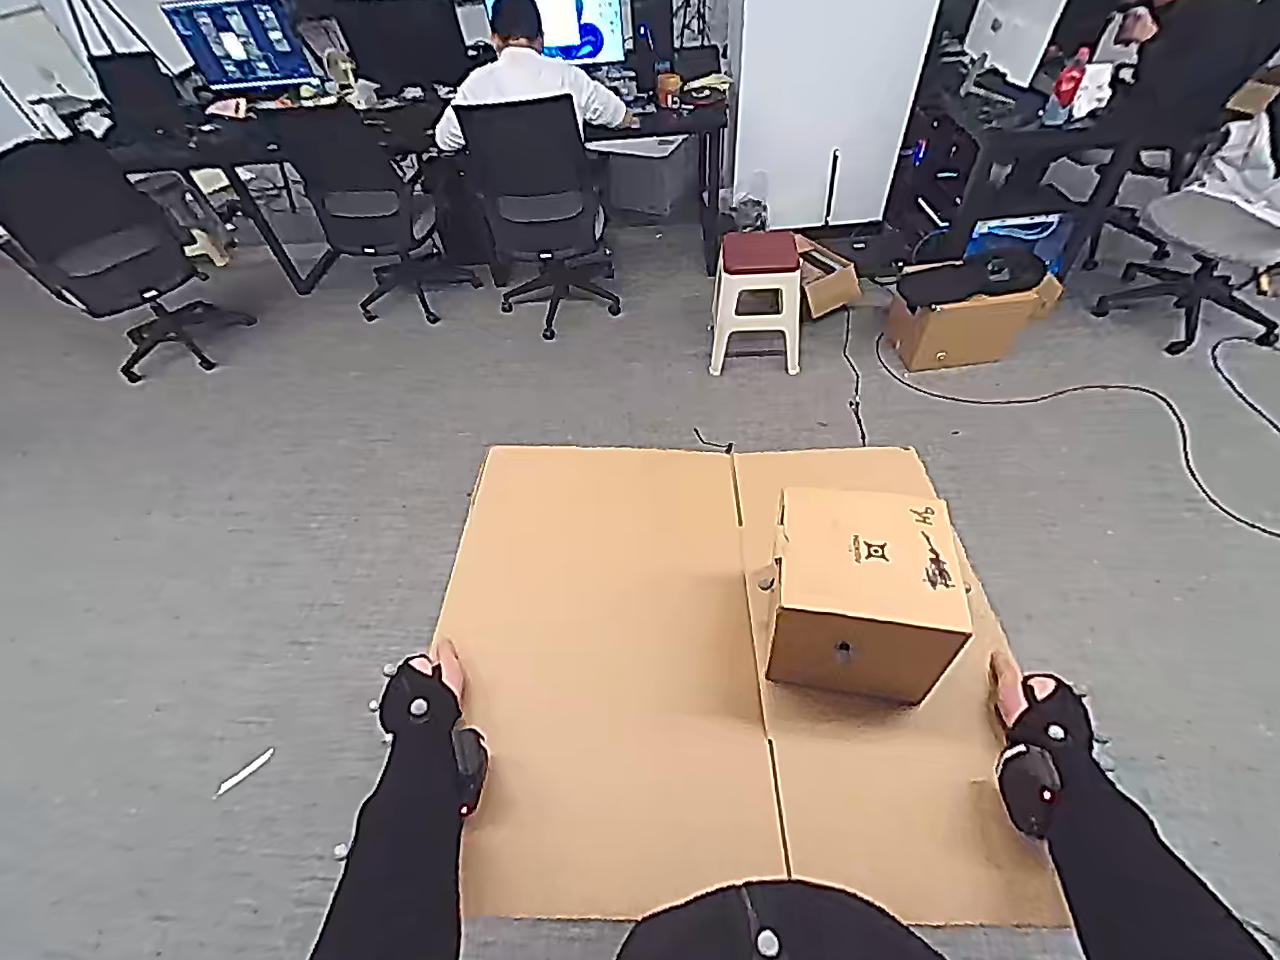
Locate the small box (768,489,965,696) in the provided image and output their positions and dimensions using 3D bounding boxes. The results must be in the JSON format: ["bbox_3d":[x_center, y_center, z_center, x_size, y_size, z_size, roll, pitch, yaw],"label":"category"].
[{"bbox_3d":[0.244,0.131,0.628,0.179,0.176,0.168,5,48,13],"label":"small box"}]
